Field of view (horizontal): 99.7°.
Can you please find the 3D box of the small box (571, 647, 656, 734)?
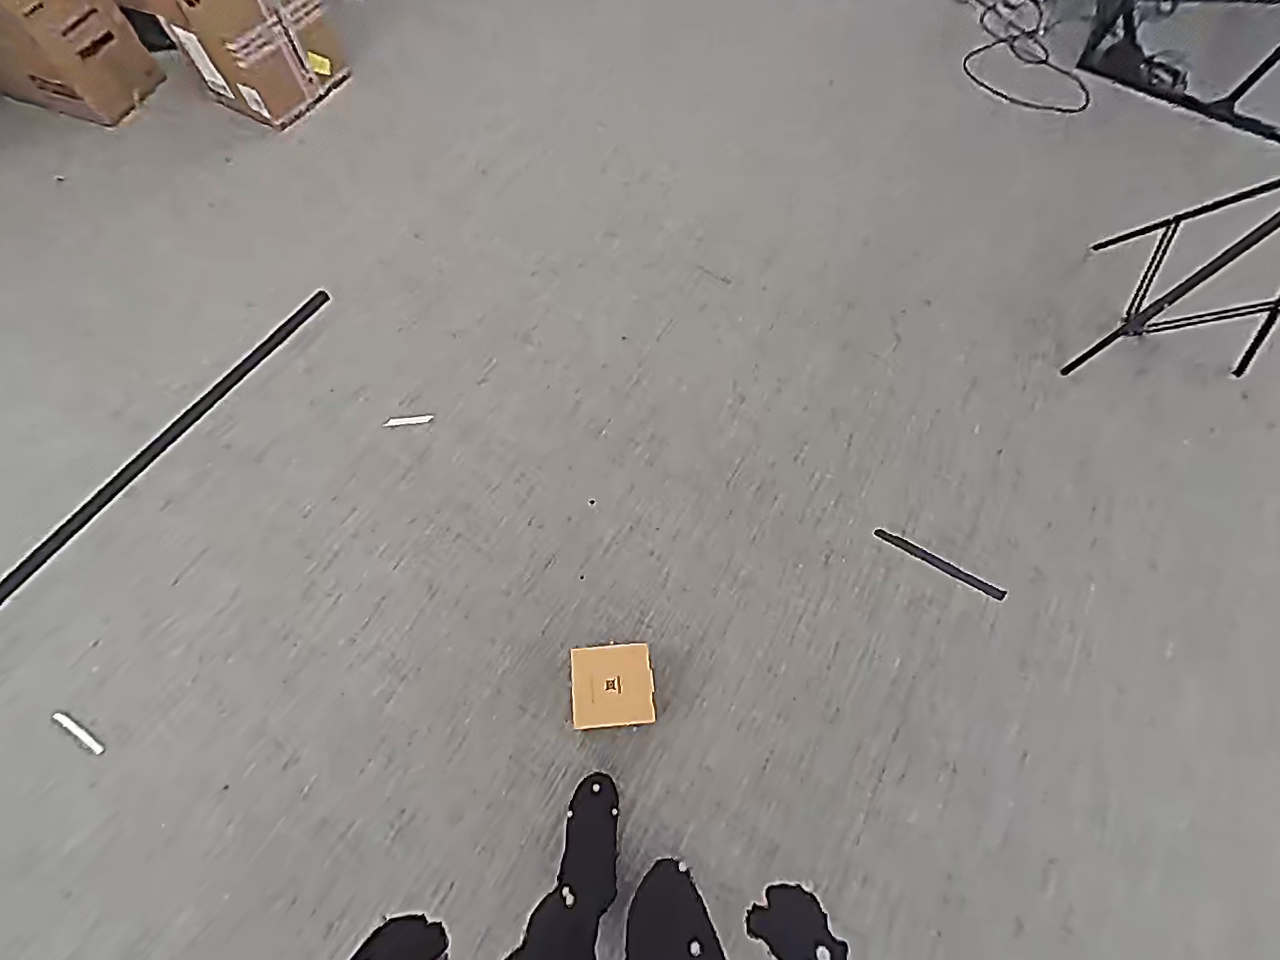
[{"bbox_3d":[-0.063,0.478,1.228,0.179,0.176,0.168,-4,66,-3],"label":"small box"}]
